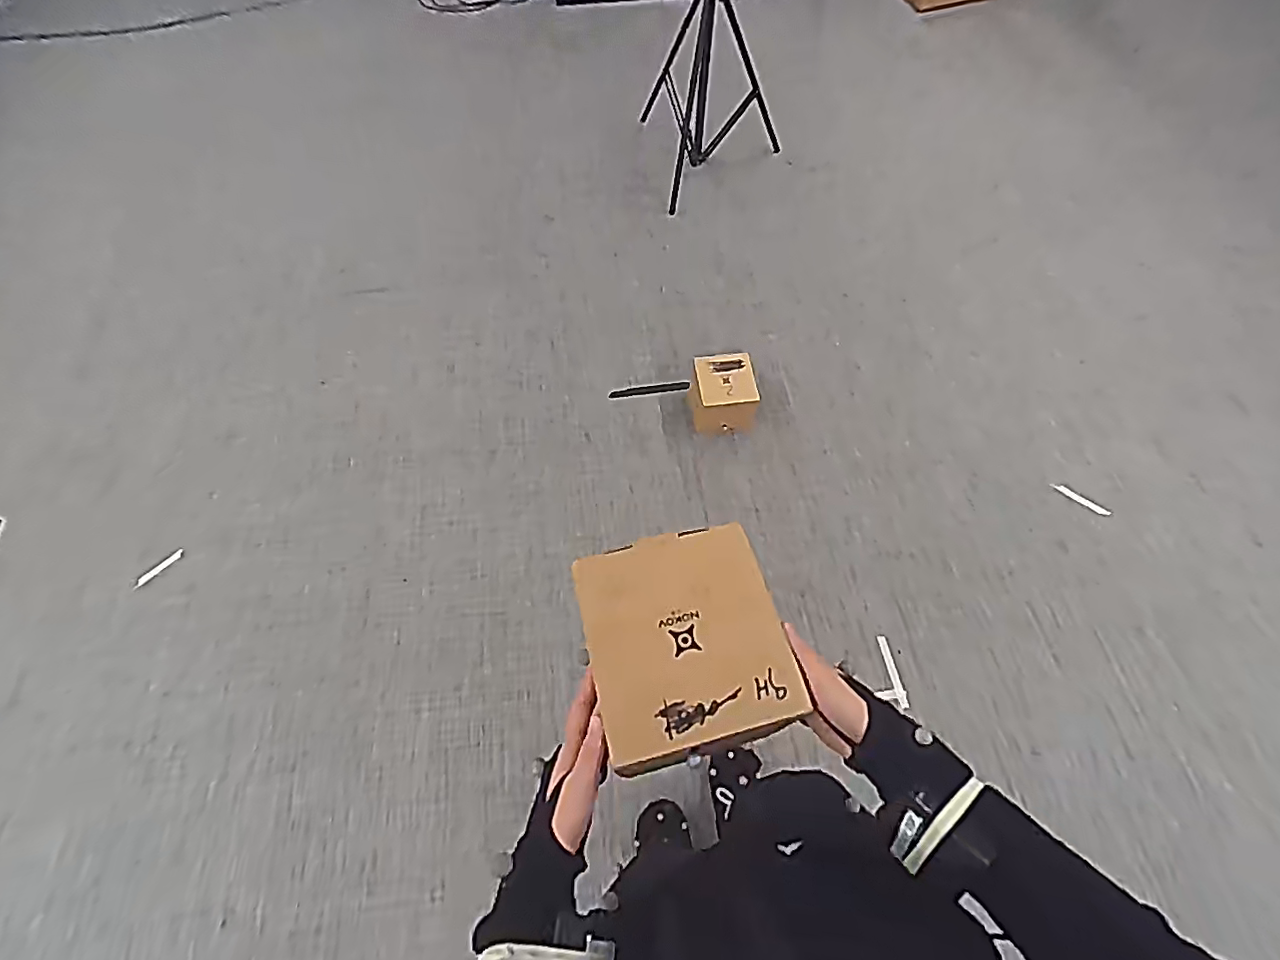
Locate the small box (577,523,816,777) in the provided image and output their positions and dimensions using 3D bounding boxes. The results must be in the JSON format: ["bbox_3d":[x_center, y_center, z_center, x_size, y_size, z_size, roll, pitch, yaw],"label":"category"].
[{"bbox_3d":[0.040,0.169,0.524,0.168,0.176,0.179,-13,60,-7],"label":"small box"}]
